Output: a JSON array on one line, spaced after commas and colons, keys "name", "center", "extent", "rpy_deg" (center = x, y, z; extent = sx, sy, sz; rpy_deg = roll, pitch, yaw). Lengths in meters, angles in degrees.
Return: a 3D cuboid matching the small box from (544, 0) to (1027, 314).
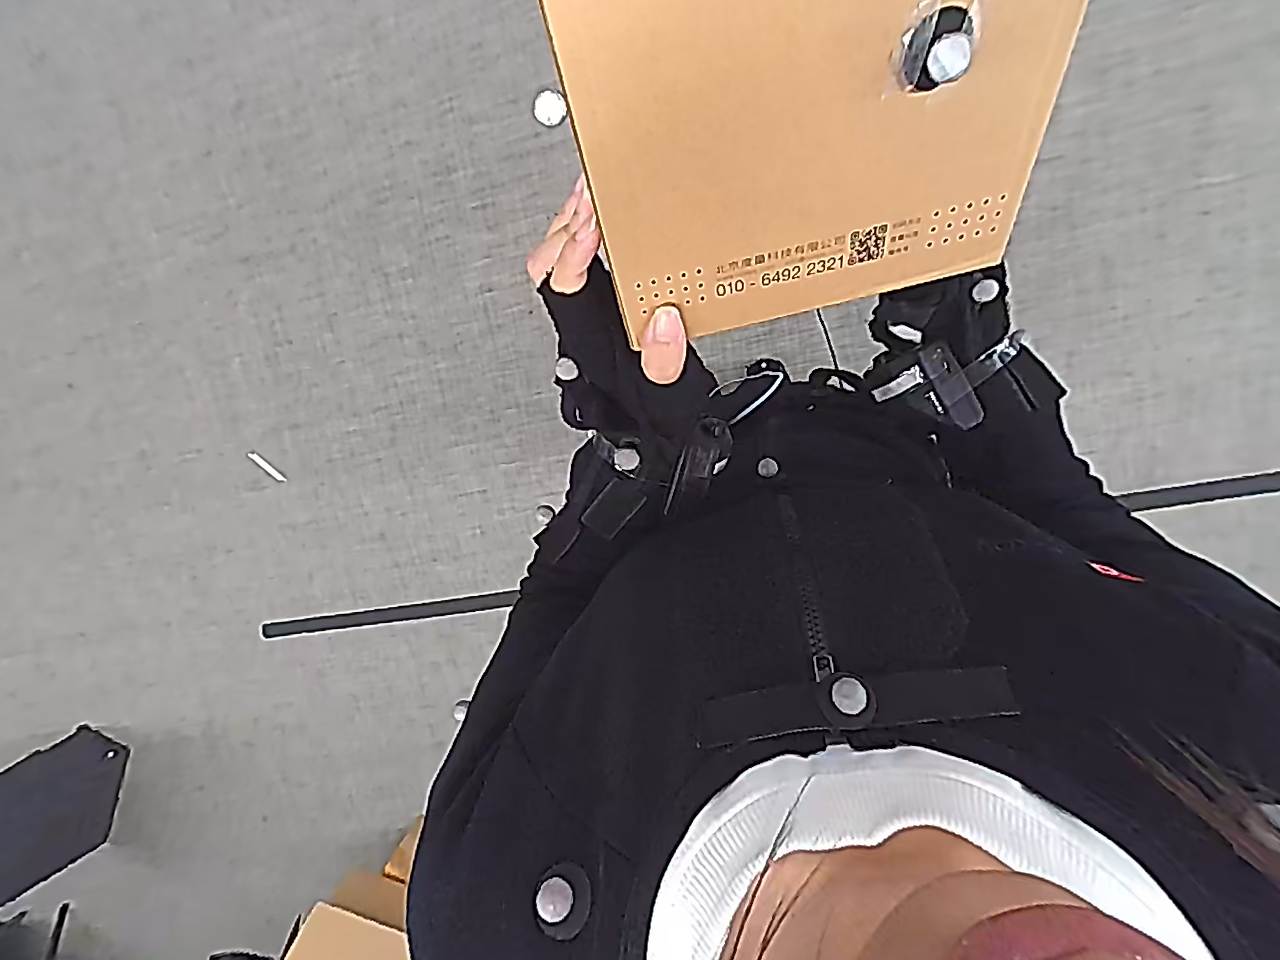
[{"name": "small box", "center": [0.053, -0.197, 0.253], "extent": [0.168, 0.179, 0.176], "rpy_deg": [-12, 140, 5]}]
